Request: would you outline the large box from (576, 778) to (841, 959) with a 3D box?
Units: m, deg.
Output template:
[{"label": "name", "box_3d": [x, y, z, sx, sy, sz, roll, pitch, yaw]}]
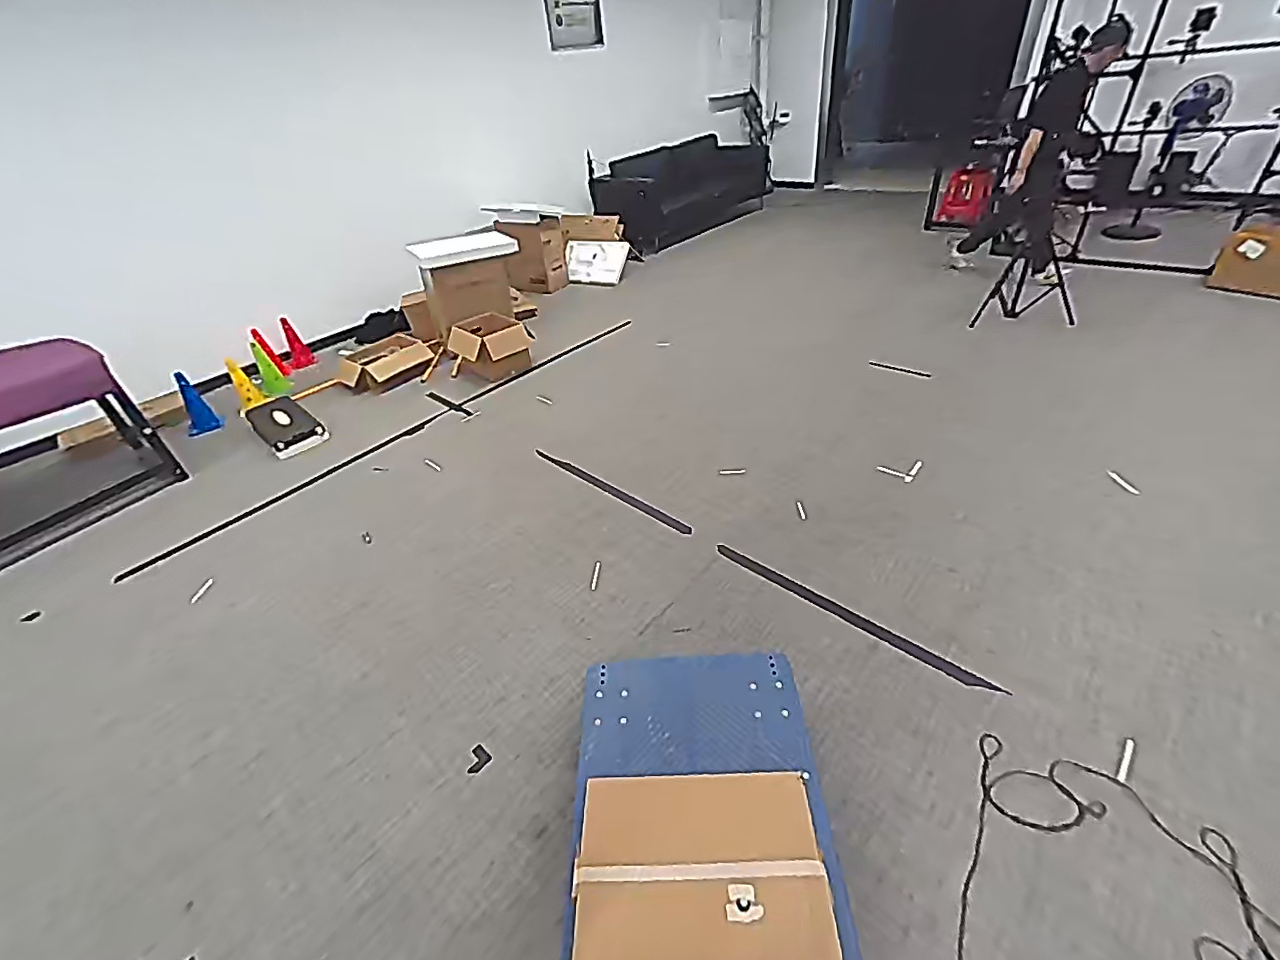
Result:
[{"label": "large box", "box_3d": [0.109, 0.777, 0.977, 0.408, 0.320, 0.320, -4, 38, 3]}]
